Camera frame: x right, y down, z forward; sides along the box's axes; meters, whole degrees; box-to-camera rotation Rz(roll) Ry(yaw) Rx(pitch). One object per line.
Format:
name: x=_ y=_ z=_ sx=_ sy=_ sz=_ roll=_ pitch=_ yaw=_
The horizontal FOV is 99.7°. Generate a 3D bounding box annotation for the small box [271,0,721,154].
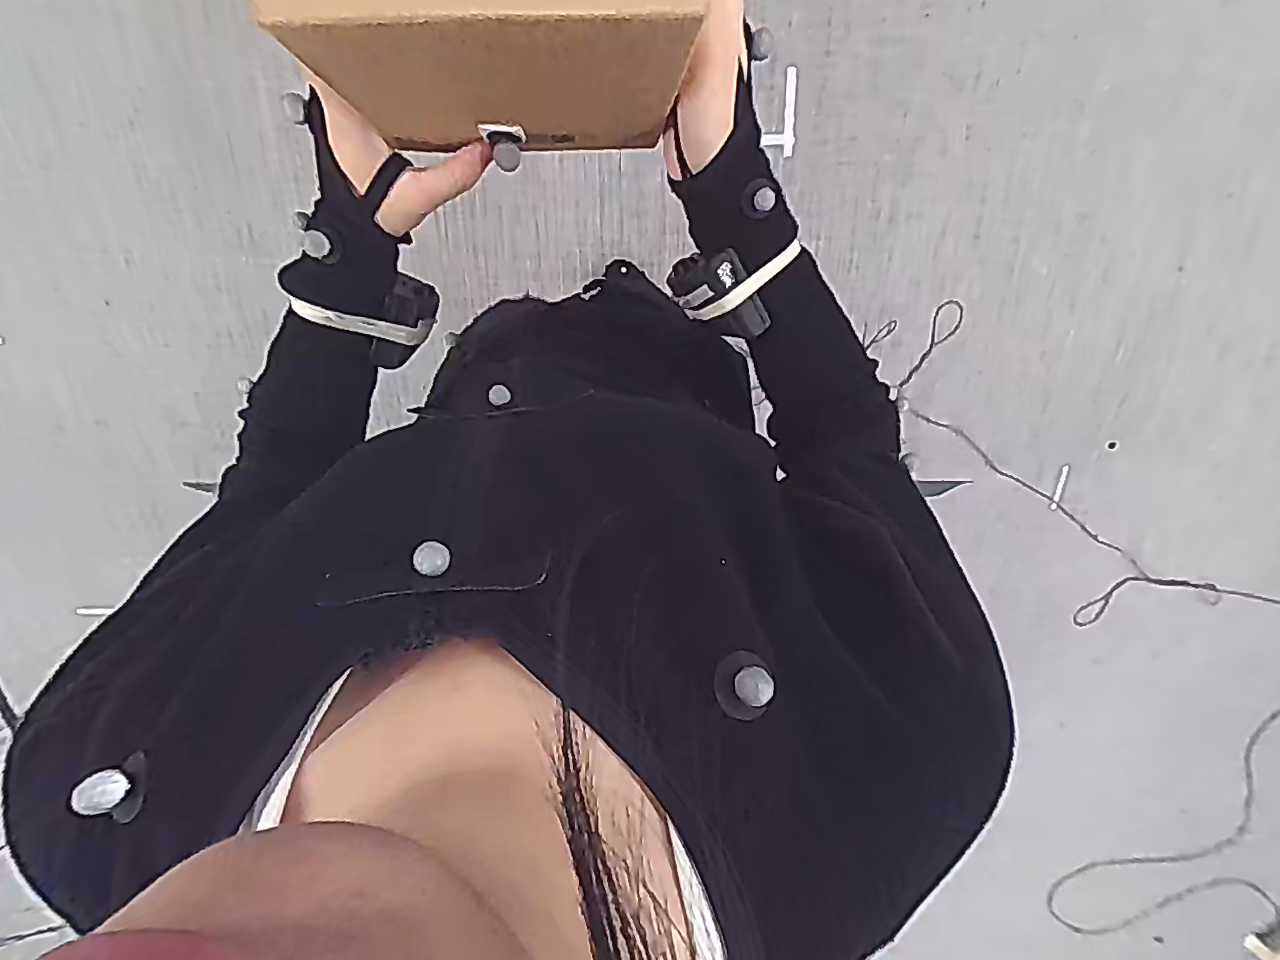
small box: x=-0.062 y=-0.273 z=0.245 sx=0.168 sy=0.176 sz=0.179 roll=-5 pitch=107 yaw=-3
